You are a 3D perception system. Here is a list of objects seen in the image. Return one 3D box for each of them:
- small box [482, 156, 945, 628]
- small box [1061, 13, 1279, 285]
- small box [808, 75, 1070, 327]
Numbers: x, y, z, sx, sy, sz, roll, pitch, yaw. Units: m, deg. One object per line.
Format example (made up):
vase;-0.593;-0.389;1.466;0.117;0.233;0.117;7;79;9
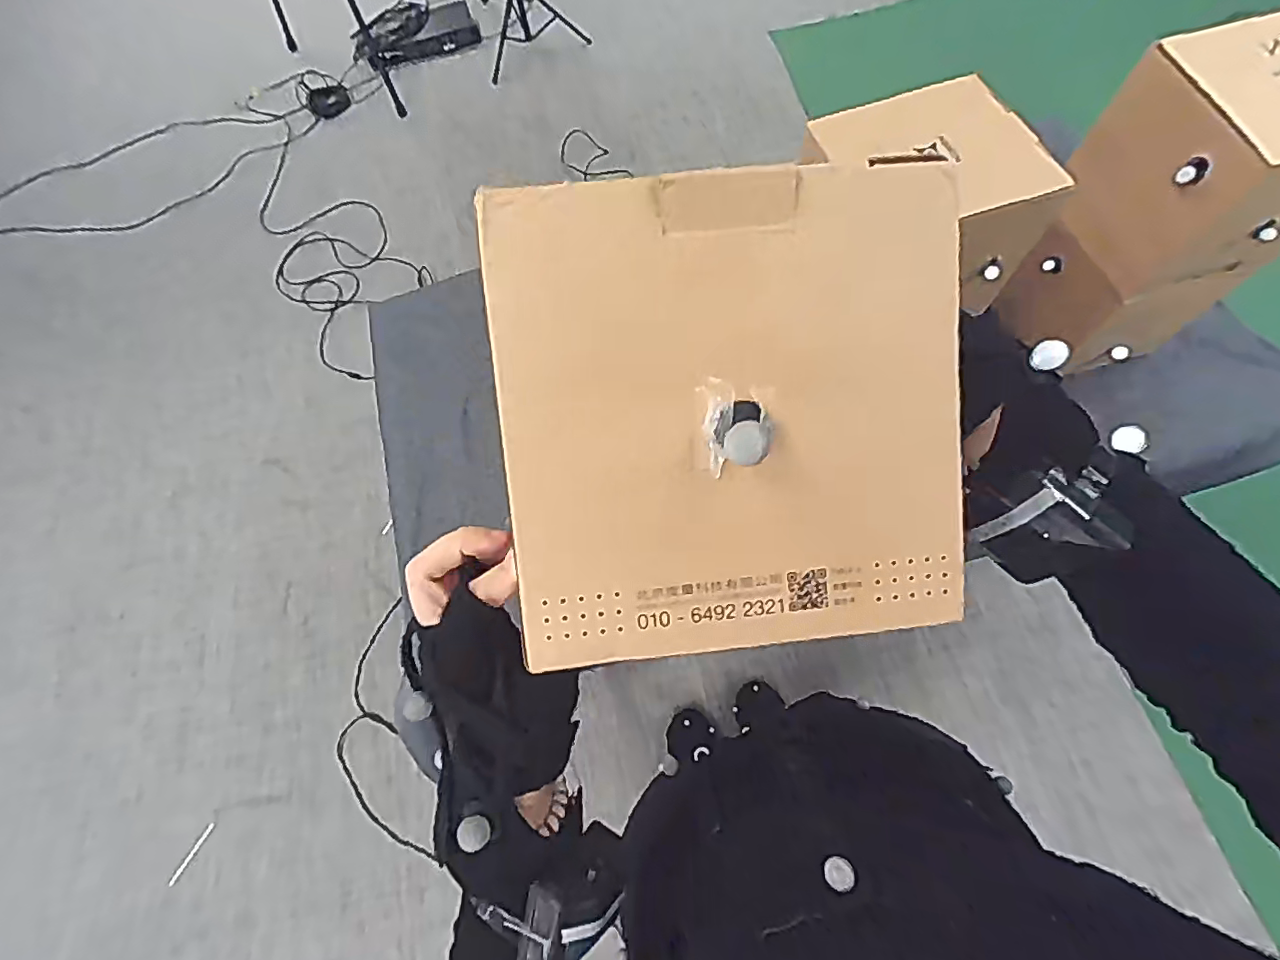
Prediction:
small box;0.029;-0.032;0.275;0.168;0.179;0.176;-5;97;-4
small box;0.588;-0.325;0.555;0.168;0.176;0.179;-13;67;0
small box;0.272;-0.265;0.563;0.179;0.176;0.168;-17;67;-1
